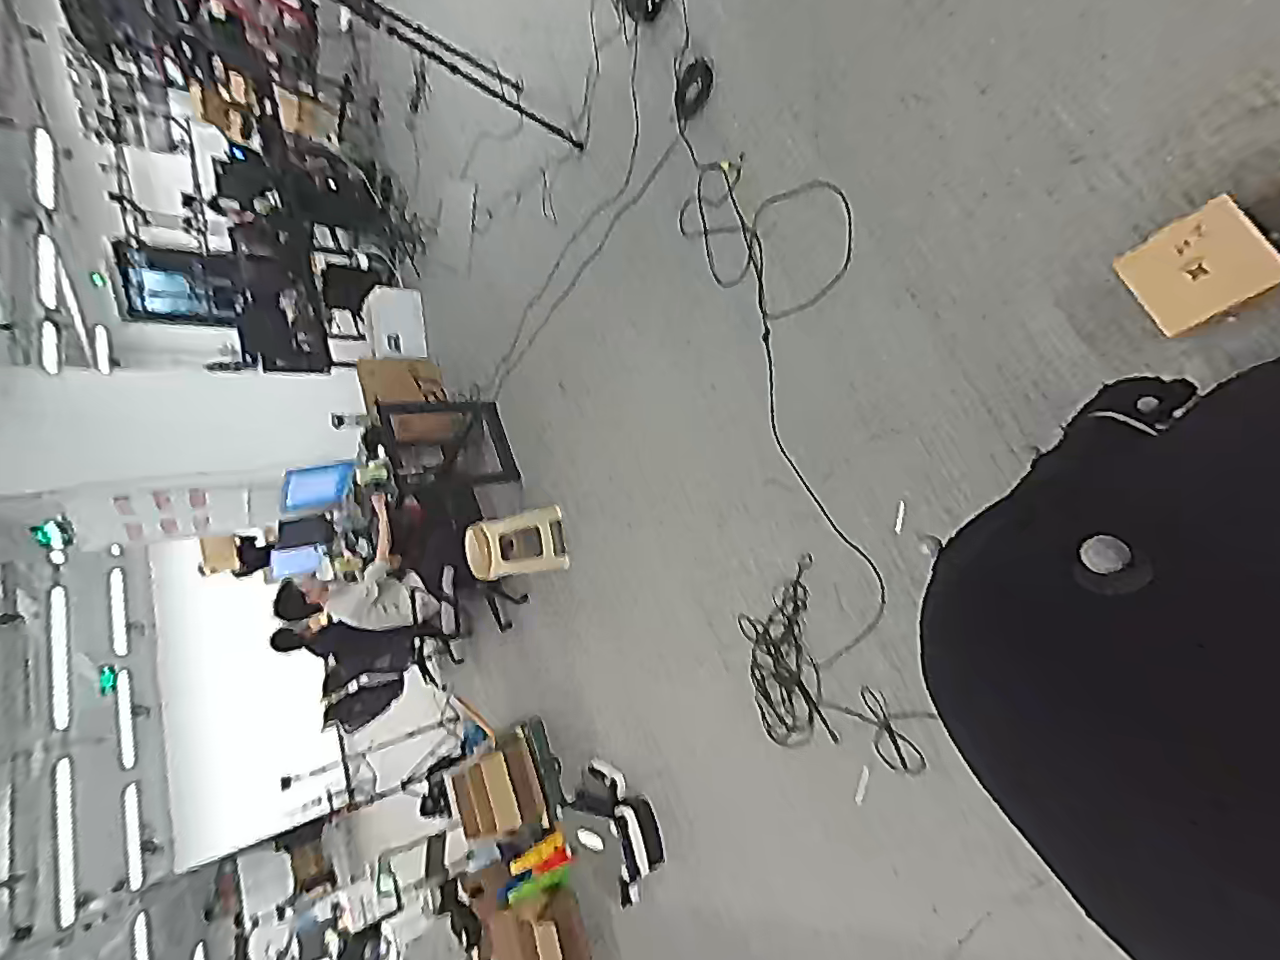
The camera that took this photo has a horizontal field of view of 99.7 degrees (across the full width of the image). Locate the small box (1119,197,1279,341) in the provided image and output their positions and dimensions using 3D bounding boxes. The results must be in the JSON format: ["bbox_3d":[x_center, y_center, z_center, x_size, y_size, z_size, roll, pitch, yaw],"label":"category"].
[{"bbox_3d":[1.028,-0.368,0.975,0.168,0.176,0.179,-40,65,46],"label":"small box"}]
